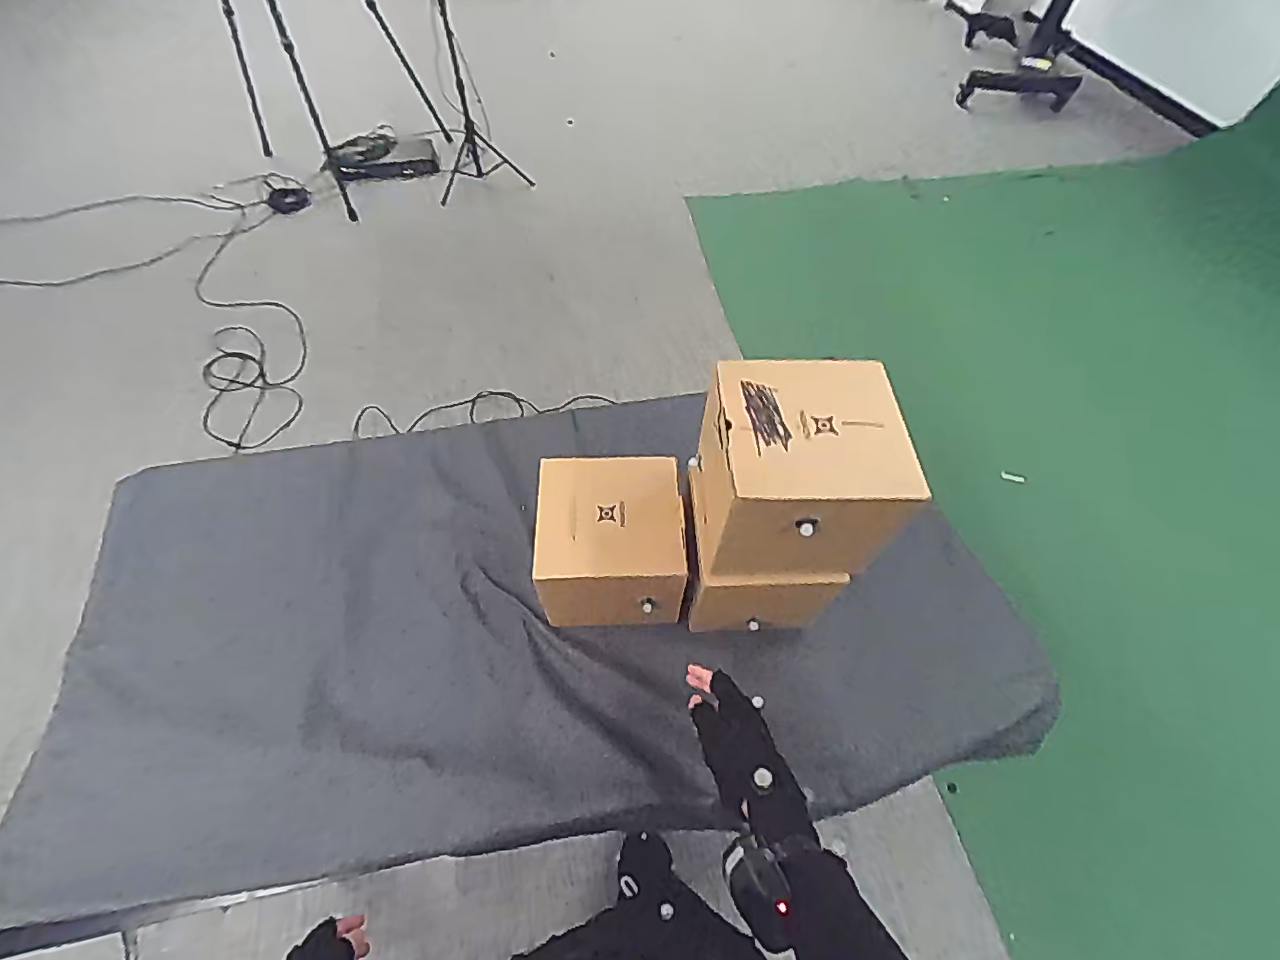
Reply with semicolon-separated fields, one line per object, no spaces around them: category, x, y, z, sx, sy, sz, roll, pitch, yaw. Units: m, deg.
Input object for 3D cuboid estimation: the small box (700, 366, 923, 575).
small box;0.160;-0.004;0.582;0.179;0.176;0.168;0;58;-2
